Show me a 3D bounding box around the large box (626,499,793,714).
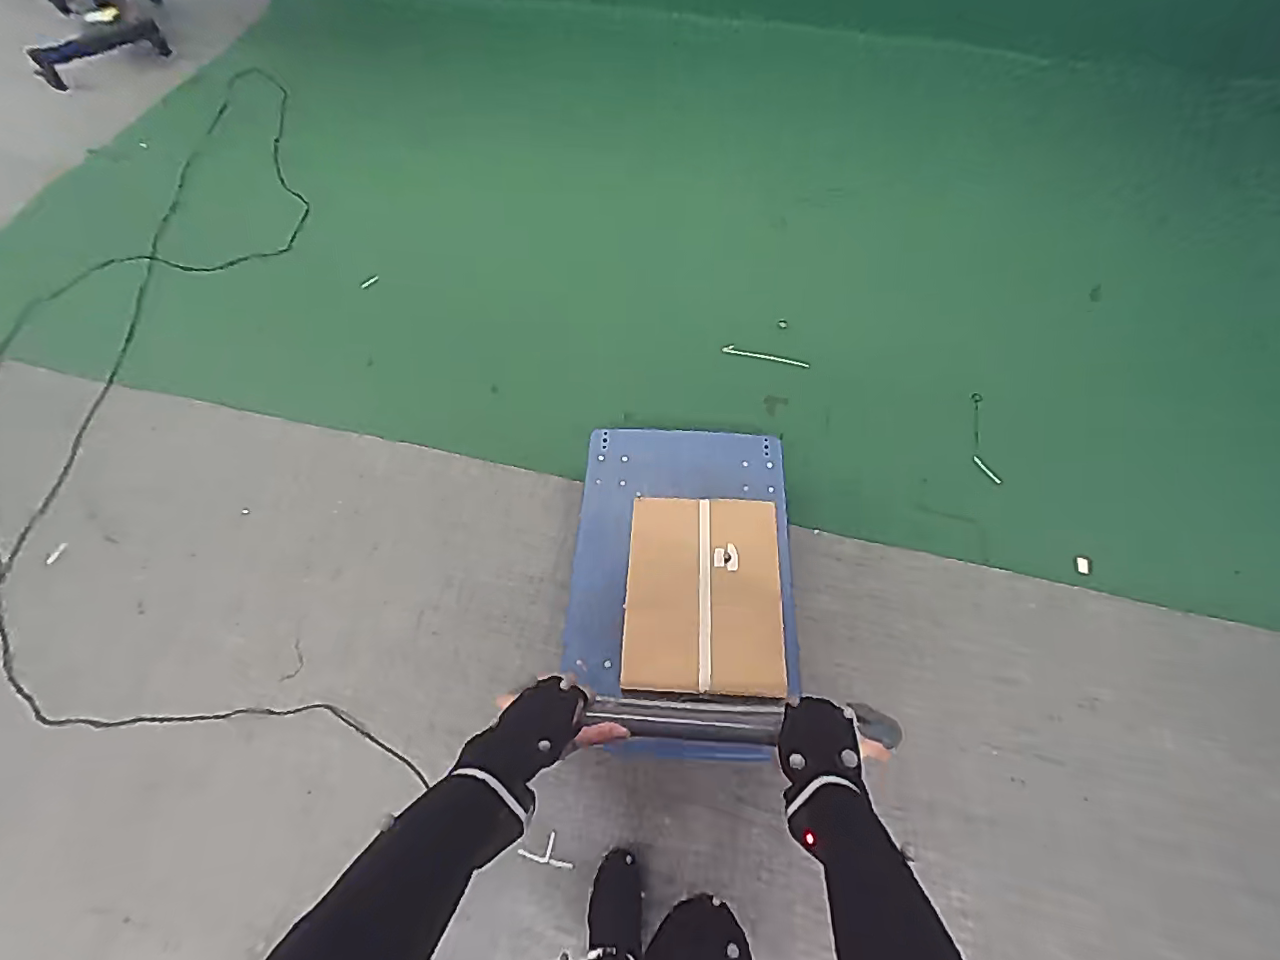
[{"bbox_3d":[0.141,0.293,1.216,0.320,0.320,0.408,2,61,2],"label":"large box"}]
